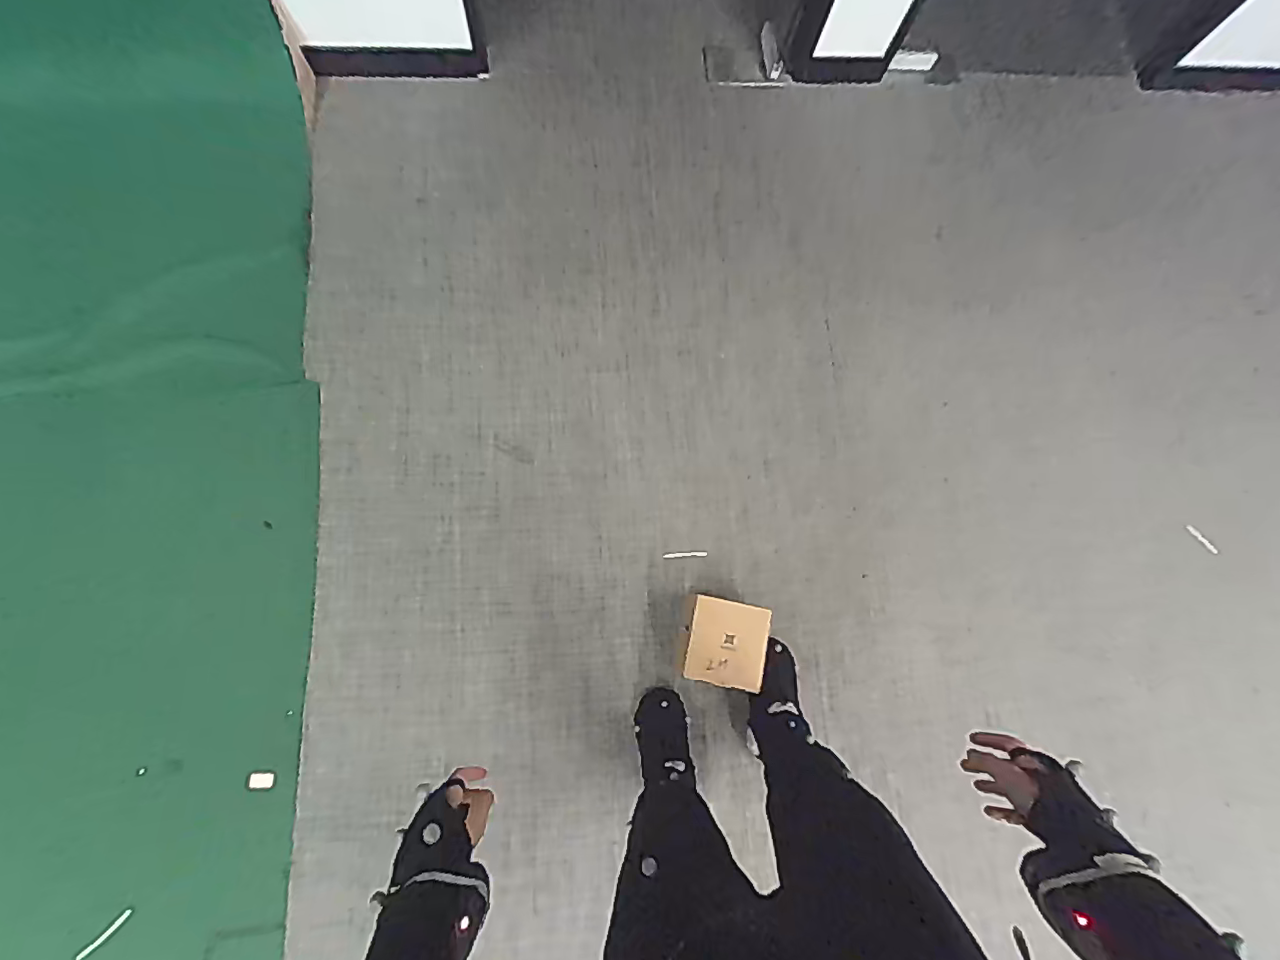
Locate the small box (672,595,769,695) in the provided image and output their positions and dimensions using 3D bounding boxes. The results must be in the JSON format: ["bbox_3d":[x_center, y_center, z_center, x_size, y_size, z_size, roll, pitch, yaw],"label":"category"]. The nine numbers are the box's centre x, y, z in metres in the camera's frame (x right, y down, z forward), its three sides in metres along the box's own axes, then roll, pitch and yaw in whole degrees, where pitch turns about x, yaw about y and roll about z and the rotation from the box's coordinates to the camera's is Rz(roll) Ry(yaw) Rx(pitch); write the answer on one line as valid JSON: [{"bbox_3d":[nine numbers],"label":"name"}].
[{"bbox_3d":[0.175,0.362,1.212,0.168,0.176,0.179,13,77,-1],"label":"small box"}]
